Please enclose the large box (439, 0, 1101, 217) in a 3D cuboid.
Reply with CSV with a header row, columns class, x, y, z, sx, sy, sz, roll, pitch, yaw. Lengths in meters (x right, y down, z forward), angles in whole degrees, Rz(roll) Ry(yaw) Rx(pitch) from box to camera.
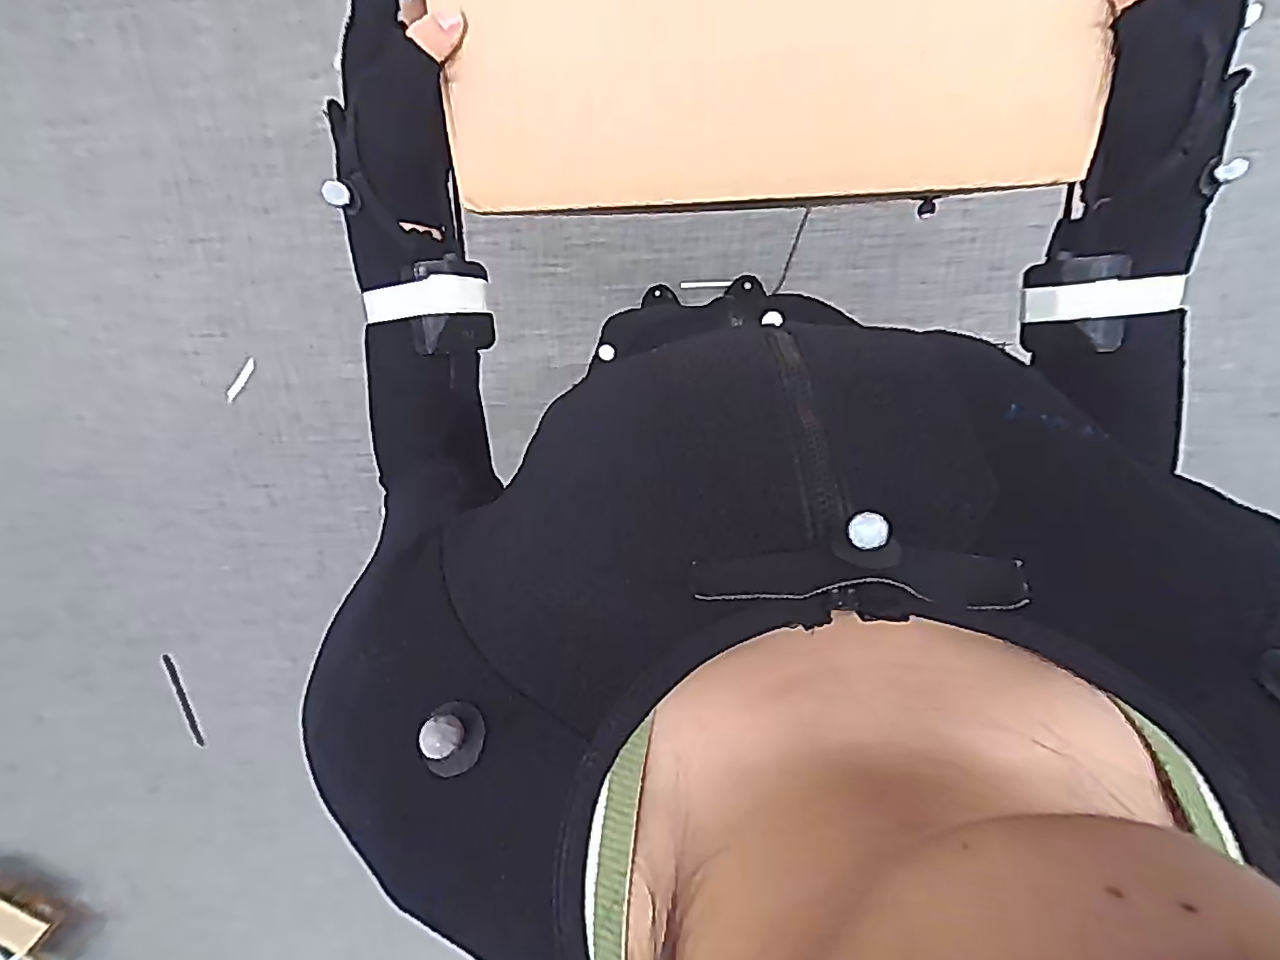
class,x,y,z,sx,sy,sz,roll,pitch,yaw
large box,0.081,-0.397,0.438,0.408,0.320,0.320,-1,115,4
